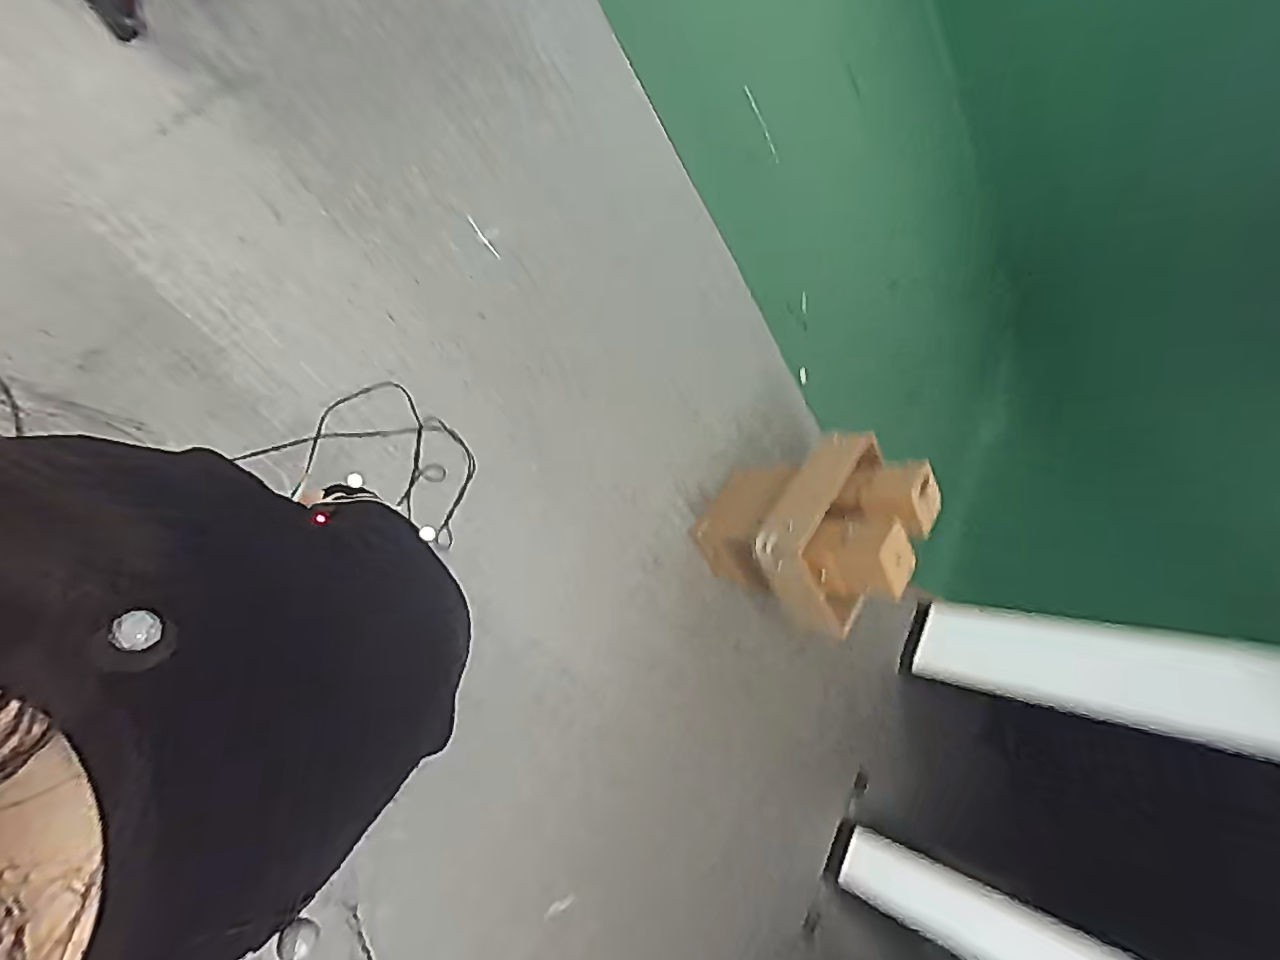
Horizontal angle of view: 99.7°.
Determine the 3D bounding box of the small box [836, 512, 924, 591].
[{"bbox_3d":[0.731,0.212,1.650,0.168,0.176,0.179,-46,115,-31],"label":"small box"}]
